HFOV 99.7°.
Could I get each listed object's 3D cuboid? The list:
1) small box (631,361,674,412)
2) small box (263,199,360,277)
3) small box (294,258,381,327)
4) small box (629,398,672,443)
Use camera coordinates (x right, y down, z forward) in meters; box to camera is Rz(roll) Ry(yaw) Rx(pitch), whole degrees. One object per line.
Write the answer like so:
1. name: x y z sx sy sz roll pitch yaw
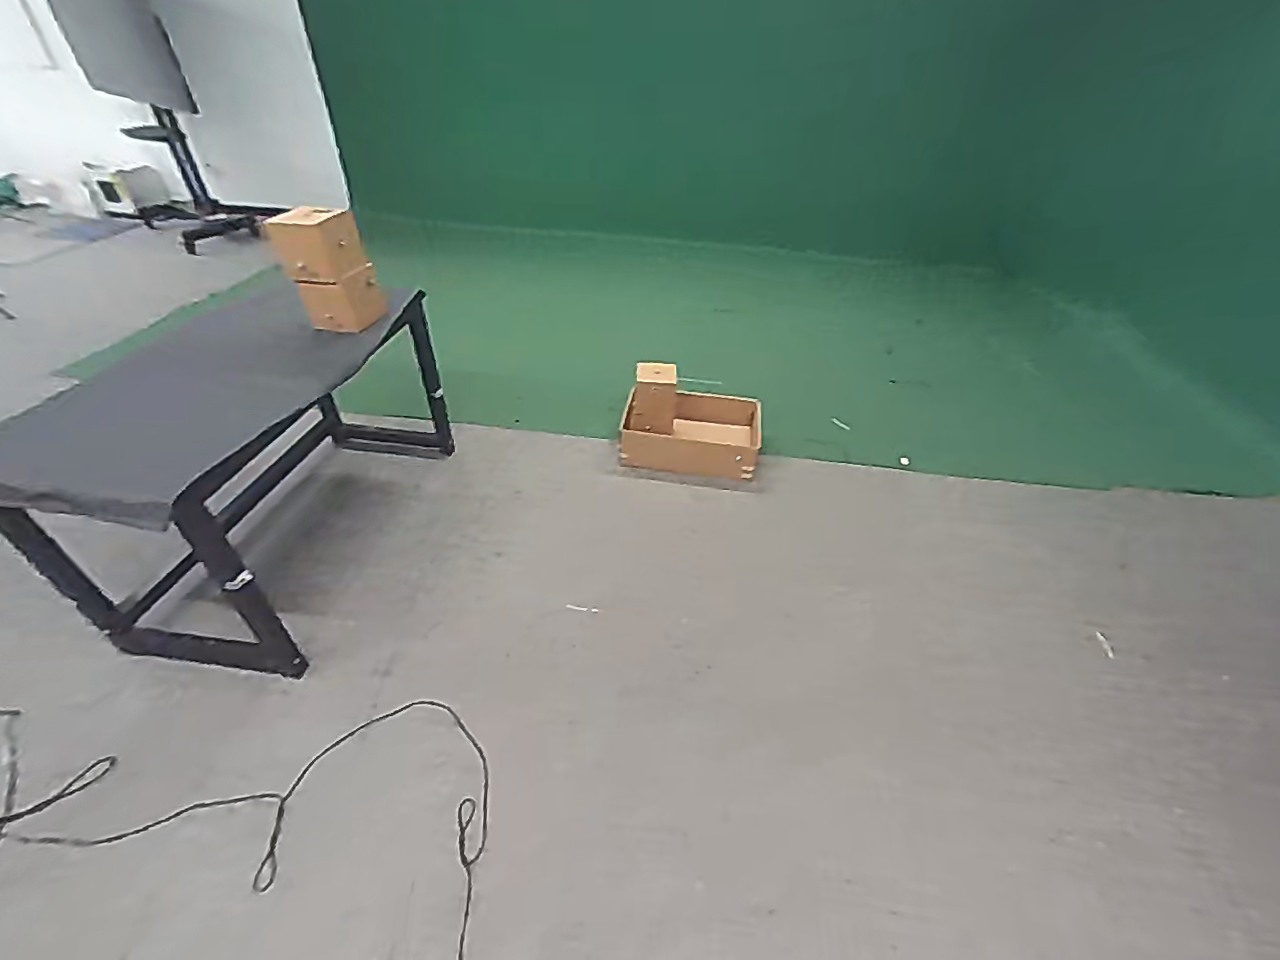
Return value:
1. small box: 0.053 -0.412 2.401 0.179 0.176 0.168 4 42 -3
2. small box: -0.980 -0.733 1.637 0.168 0.176 0.179 8 42 8
3. small box: -0.970 -0.615 1.752 0.168 0.176 0.179 8 41 9
4. small box: 0.049 -0.287 2.507 0.179 0.176 0.168 8 41 6
